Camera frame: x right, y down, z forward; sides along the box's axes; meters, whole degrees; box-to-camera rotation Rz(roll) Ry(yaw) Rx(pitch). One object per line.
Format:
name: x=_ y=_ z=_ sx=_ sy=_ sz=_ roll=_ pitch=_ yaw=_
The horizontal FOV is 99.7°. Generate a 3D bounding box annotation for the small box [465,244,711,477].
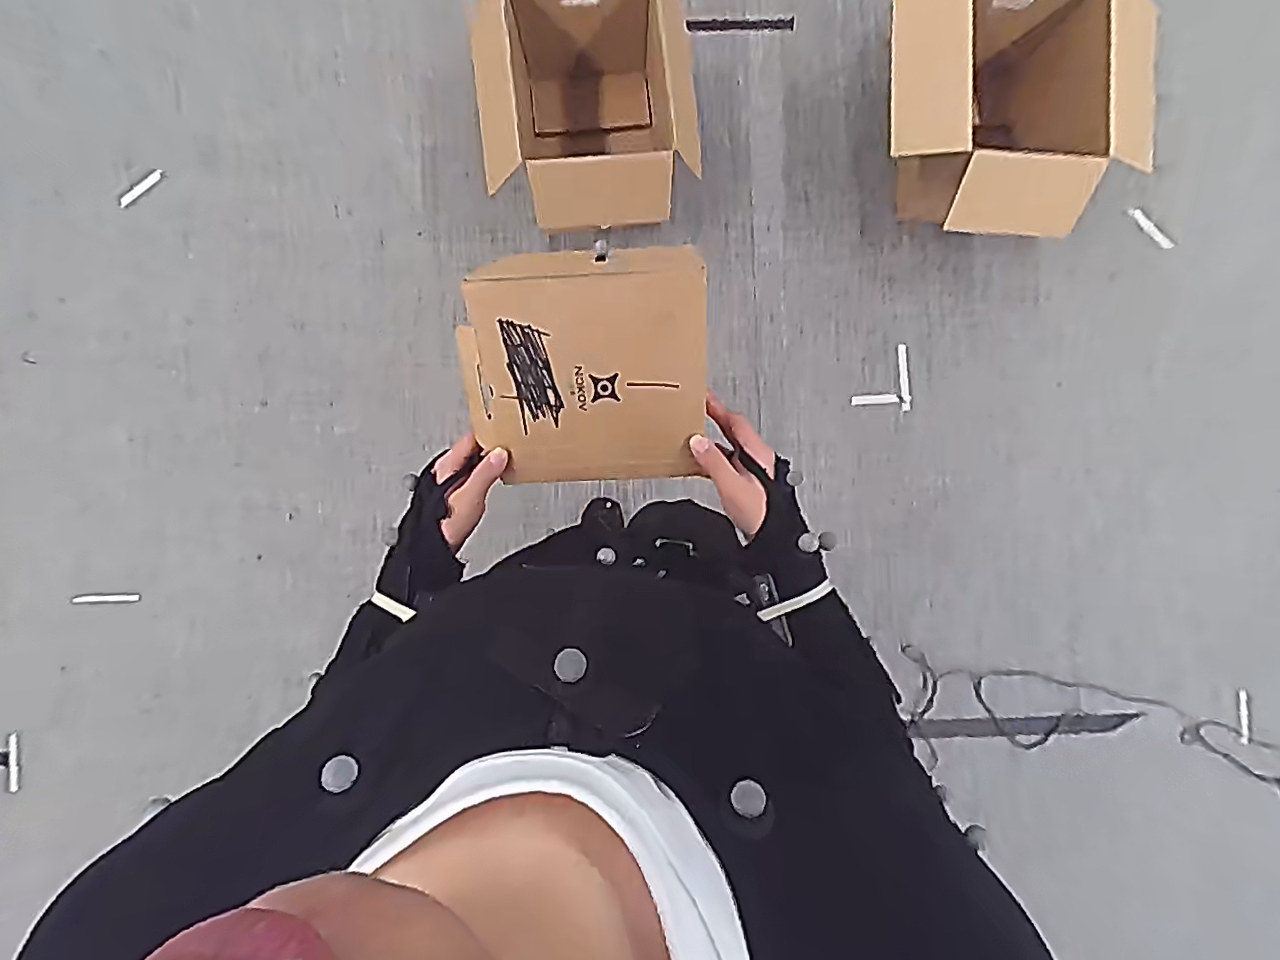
small box: x=-0.032 y=-0.113 z=0.482 sx=0.179 sy=0.176 sz=0.168 roll=-2 pitch=118 yaw=2
